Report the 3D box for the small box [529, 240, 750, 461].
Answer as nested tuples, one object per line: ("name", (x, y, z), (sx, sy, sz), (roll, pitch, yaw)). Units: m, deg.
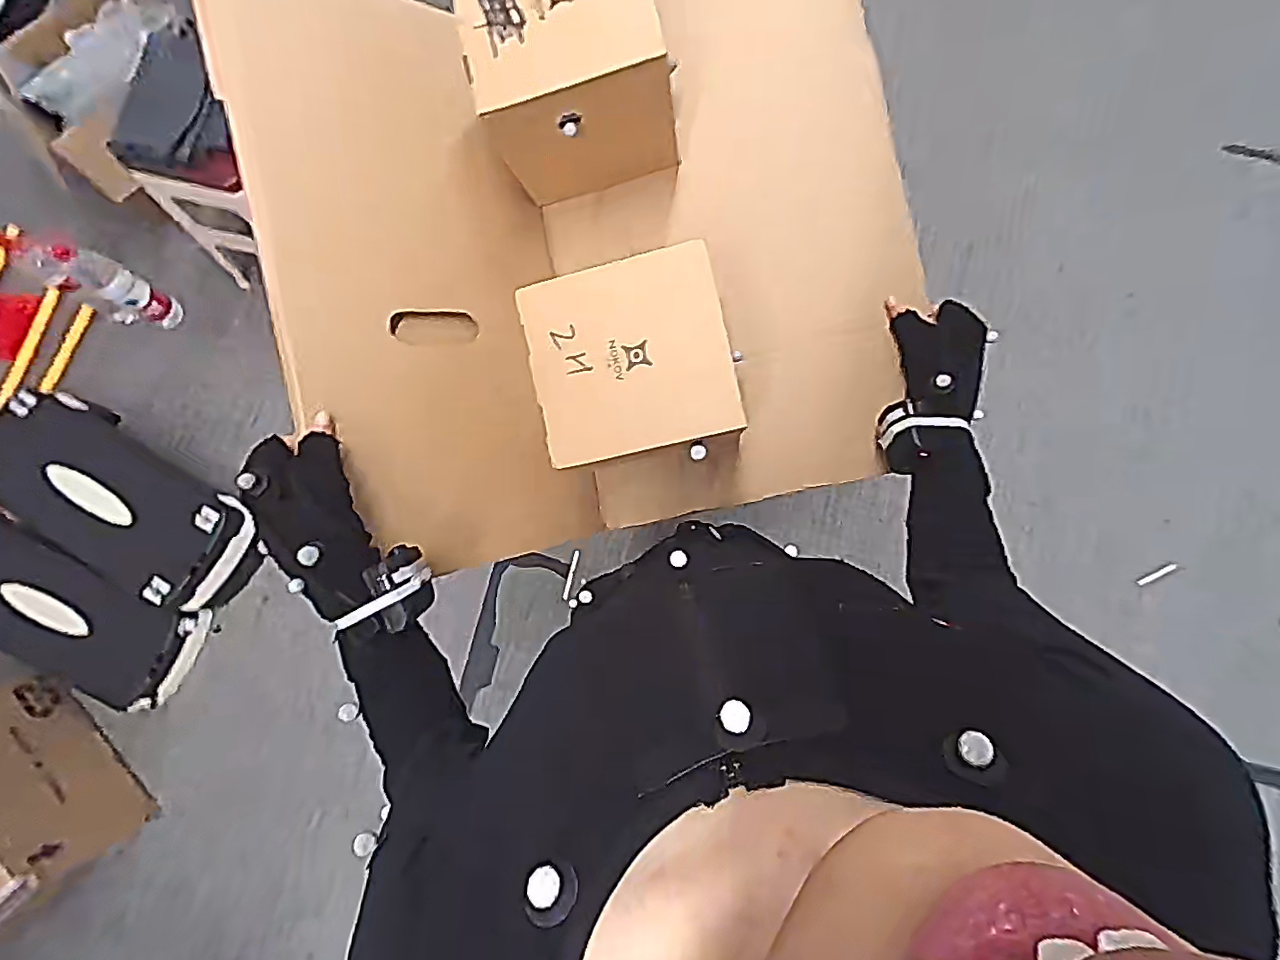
("small box", (0.008, -0.115, 0.555), (0.179, 0.176, 0.168), (-11, 90, 9))
